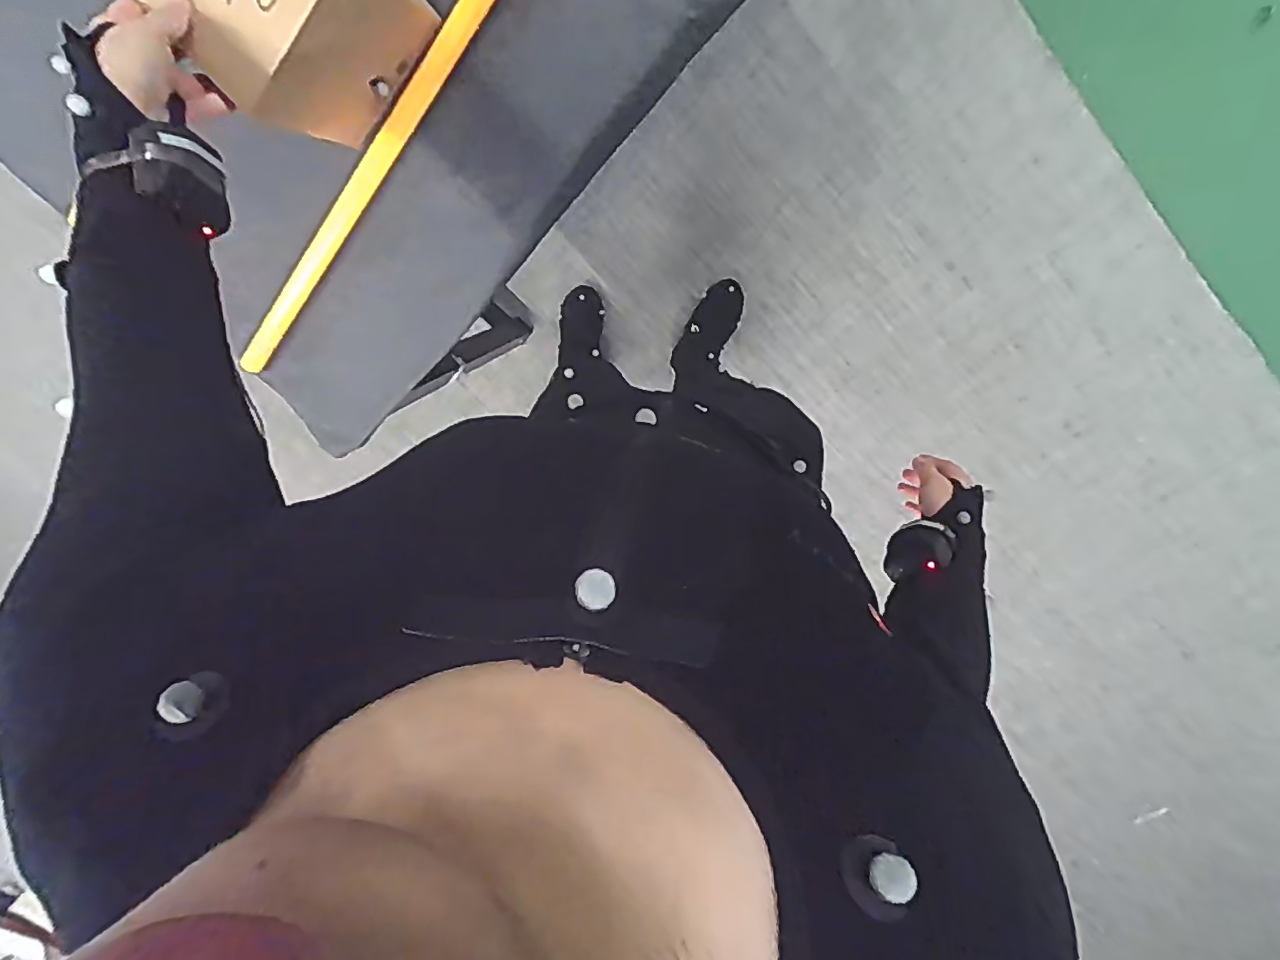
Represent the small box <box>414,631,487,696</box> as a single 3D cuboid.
[{"bbox_3d":[-0.641,0.646,1.825,0.168,0.176,0.179,40,113,-12],"label":"small box"}]
